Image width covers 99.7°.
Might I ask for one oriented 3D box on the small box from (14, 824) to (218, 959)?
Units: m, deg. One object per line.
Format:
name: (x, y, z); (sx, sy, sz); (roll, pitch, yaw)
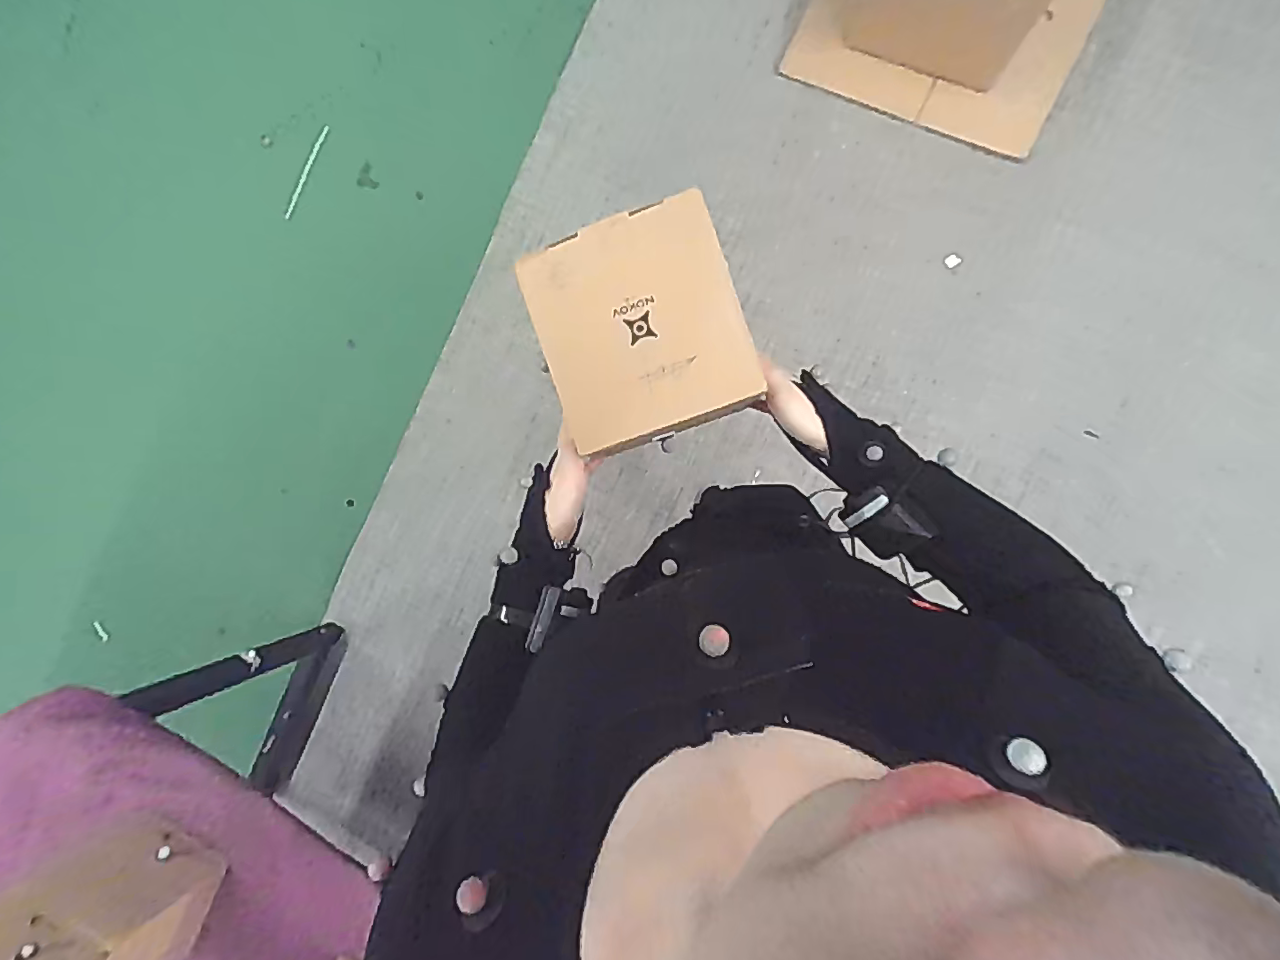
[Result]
small box: (-0.769, 0.657, 0.782); (0.168, 0.176, 0.179); (25, 91, 7)

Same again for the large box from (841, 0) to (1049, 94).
large box: (0.762, -1.232, 1.298); (0.408, 0.320, 0.320); (24, 92, 6)
